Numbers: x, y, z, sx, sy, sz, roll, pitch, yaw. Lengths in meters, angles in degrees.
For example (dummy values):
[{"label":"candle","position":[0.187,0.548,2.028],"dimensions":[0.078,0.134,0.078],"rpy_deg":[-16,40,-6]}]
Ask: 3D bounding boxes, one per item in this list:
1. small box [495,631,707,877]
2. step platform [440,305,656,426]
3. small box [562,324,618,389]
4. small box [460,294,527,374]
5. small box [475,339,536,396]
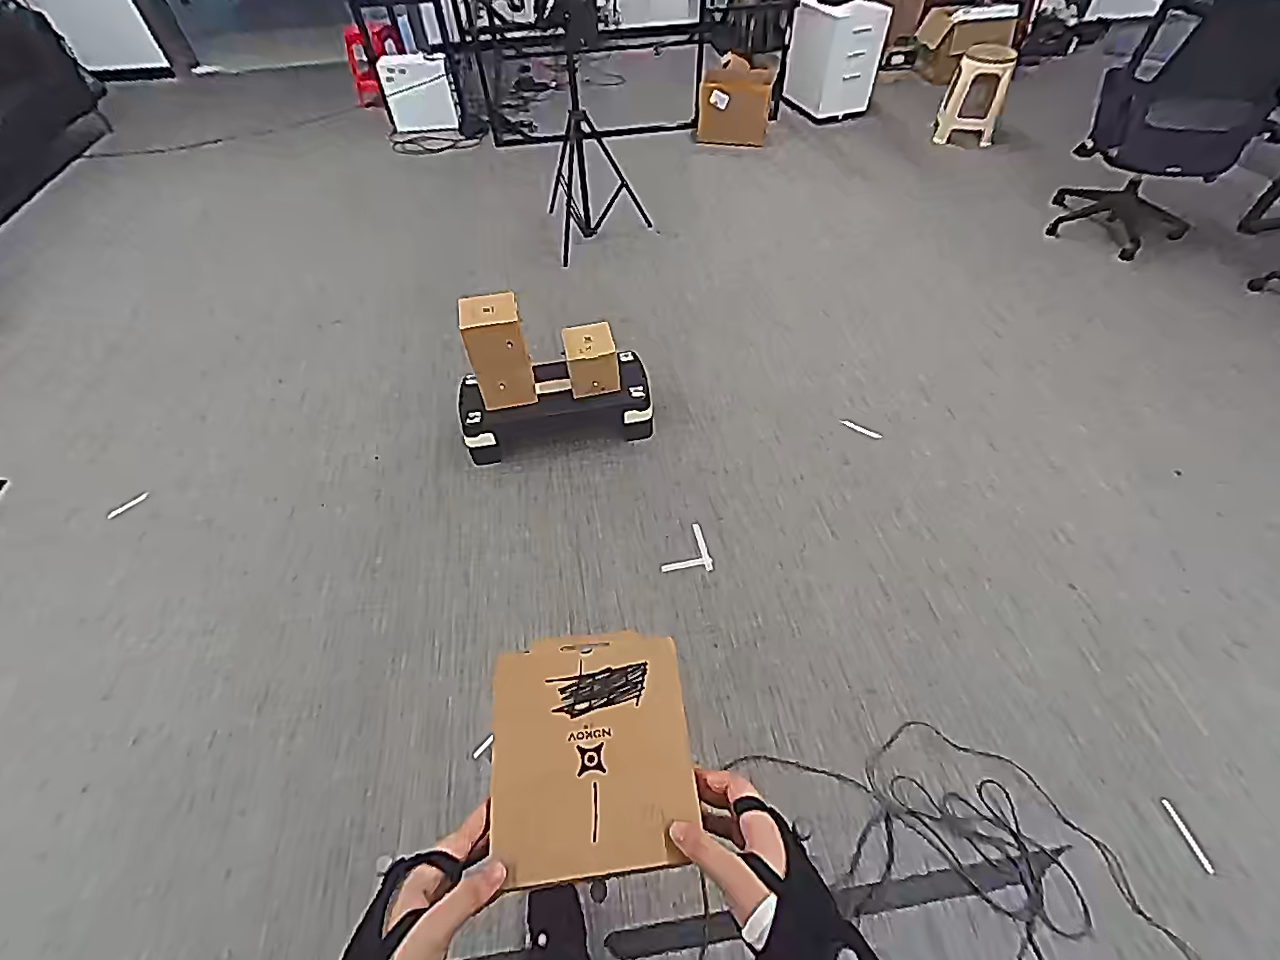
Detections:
[{"label":"small box","position":[-0.040,0.268,0.526],"dimensions":[0.168,0.176,0.179],"rpy_deg":[-5,54,-5]},{"label":"step platform","position":[-0.292,-0.382,1.807],"dimensions":[0.684,0.204,0.286],"rpy_deg":[-10,51,-6]},{"label":"small box","position":[-0.170,-0.412,1.870],"dimensions":[0.168,0.176,0.179],"rpy_deg":[-11,52,-5]},{"label":"small box","position":[-0.459,-0.460,1.713],"dimensions":[0.179,0.176,0.168],"rpy_deg":[-12,51,-7]},{"label":"small box","position":[-0.454,-0.360,1.842],"dimensions":[0.179,0.176,0.168],"rpy_deg":[-12,52,-6]}]
